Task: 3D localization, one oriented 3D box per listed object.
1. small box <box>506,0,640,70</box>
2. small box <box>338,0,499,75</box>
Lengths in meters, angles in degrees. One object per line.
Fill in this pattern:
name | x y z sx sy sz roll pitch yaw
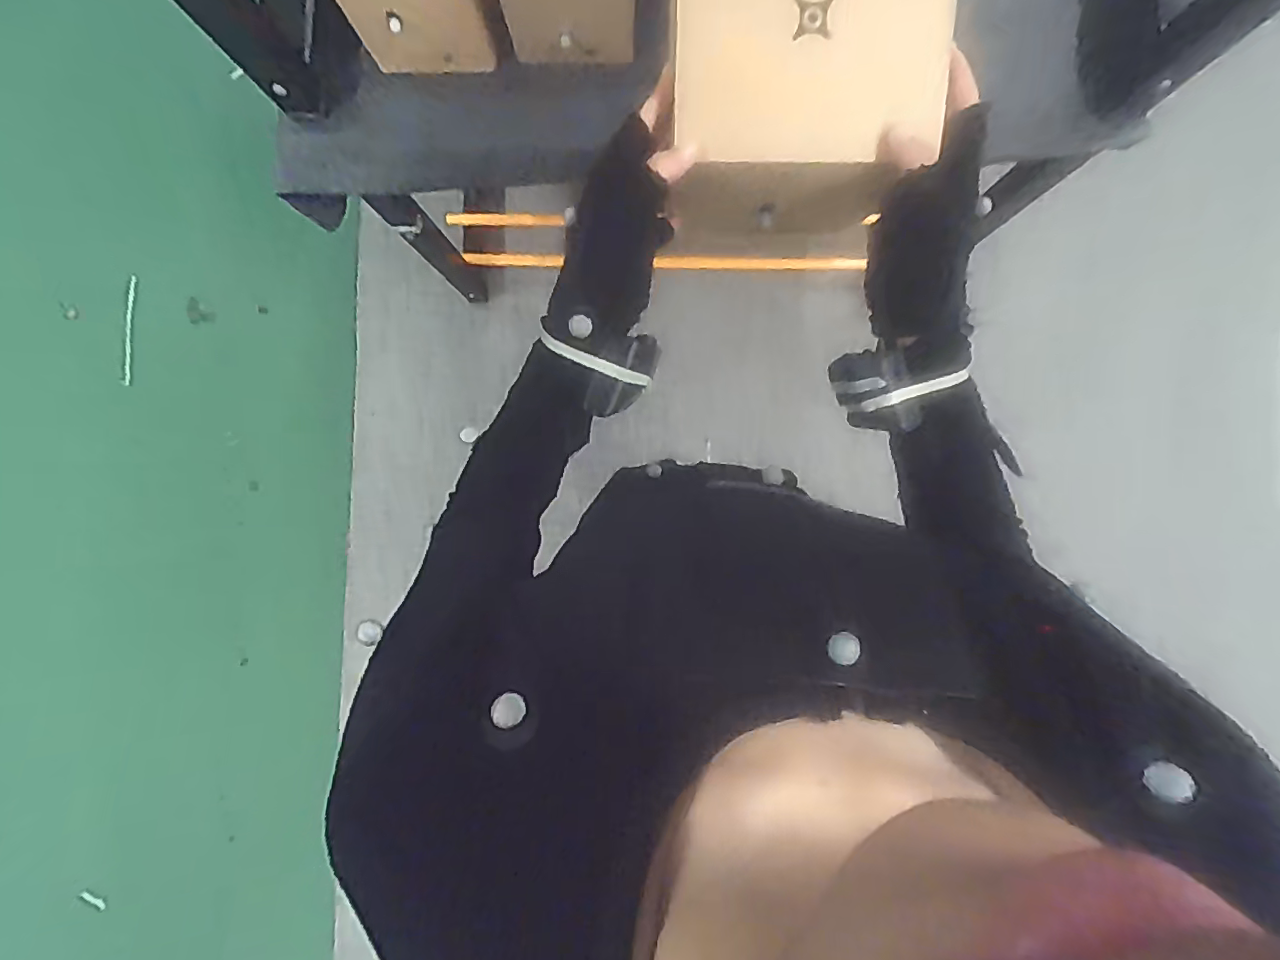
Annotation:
small box | -0.087 -0.671 0.687 0.168 0.176 0.179 1 89 2
small box | -0.283 -0.660 0.693 0.168 0.176 0.179 0 88 1
